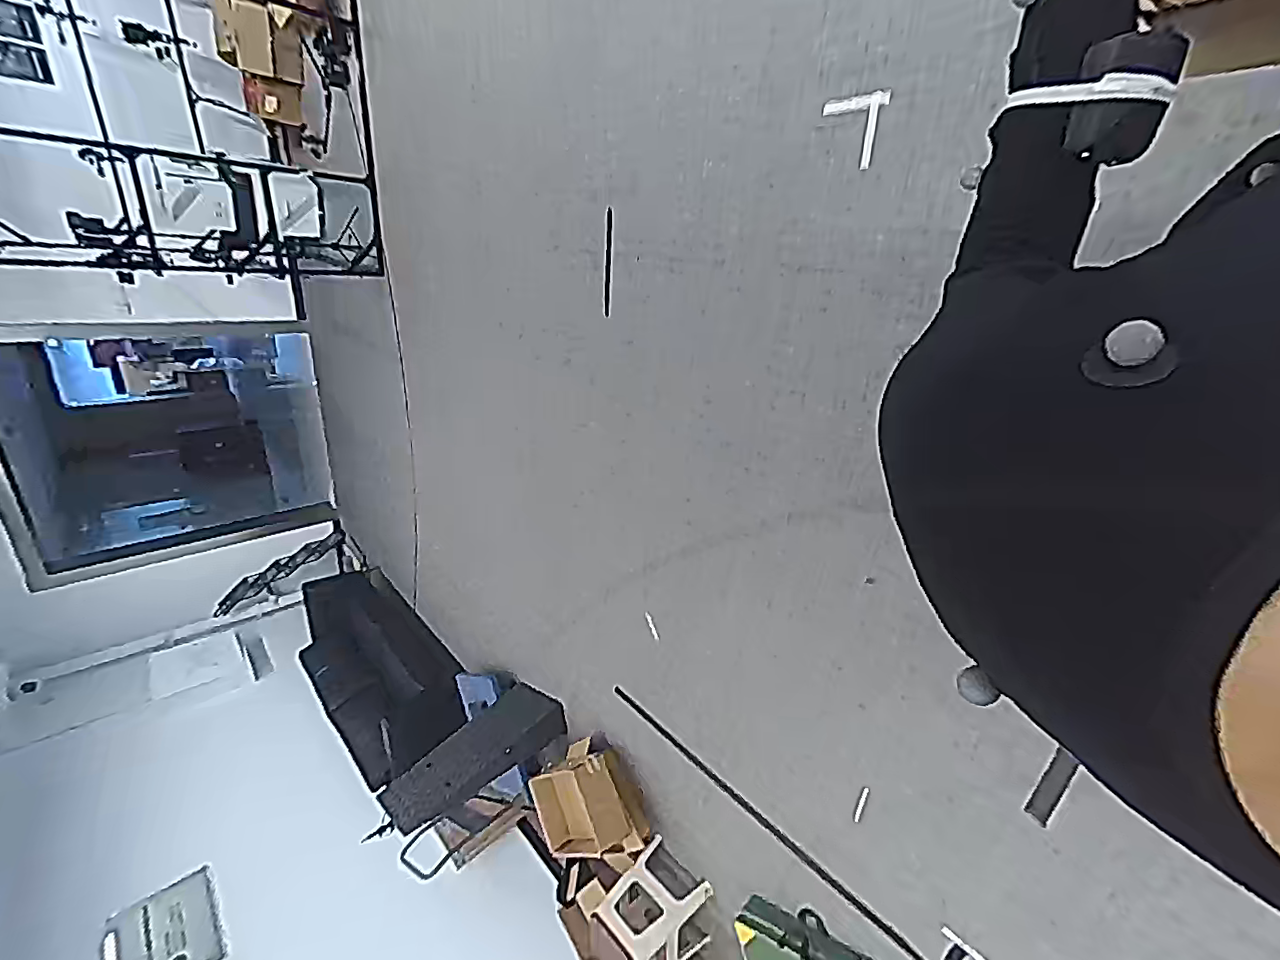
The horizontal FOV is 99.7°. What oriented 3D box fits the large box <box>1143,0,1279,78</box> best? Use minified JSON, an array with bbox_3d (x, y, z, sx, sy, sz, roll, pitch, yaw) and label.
[{"bbox_3d":[0.547,-0.429,0.242,0.408,0.320,0.320,20,125,41],"label":"large box"}]
